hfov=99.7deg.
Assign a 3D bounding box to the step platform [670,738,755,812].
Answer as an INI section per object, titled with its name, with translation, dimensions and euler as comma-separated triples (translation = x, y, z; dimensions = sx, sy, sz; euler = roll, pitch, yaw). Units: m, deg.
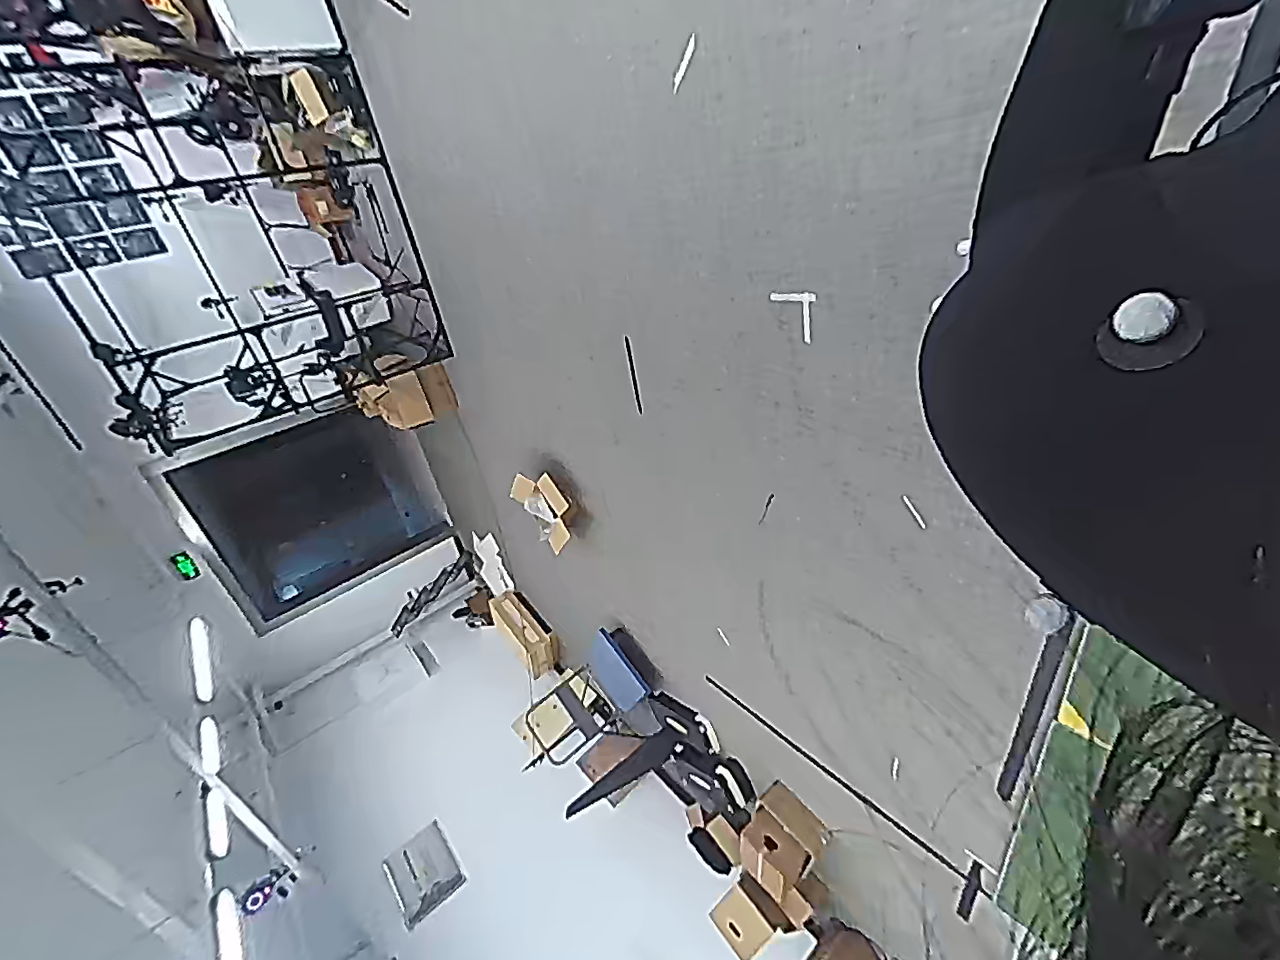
[step platform]
translation = 0.494, 2.098, 3.865
dimensions = 0.684, 0.204, 0.286
euler = -19, 99, 59
